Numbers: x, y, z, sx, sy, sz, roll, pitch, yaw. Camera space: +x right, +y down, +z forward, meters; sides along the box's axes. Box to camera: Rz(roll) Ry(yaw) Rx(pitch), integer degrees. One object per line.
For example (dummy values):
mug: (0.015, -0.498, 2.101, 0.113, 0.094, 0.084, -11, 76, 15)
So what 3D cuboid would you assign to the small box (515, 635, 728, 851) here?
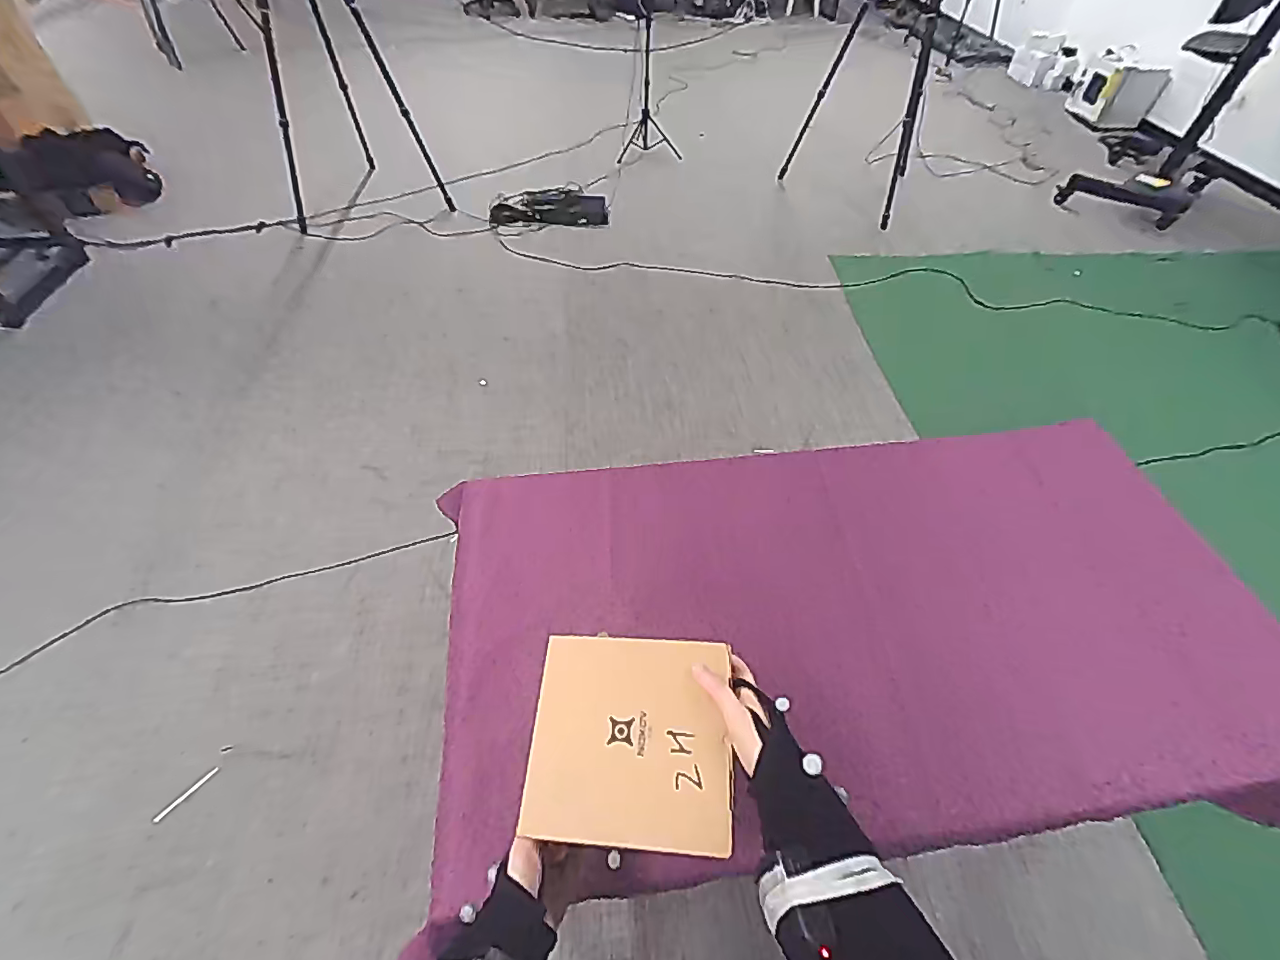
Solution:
small box: (-0.002, 0.264, 0.540, 0.179, 0.176, 0.168, 0, 57, 8)
